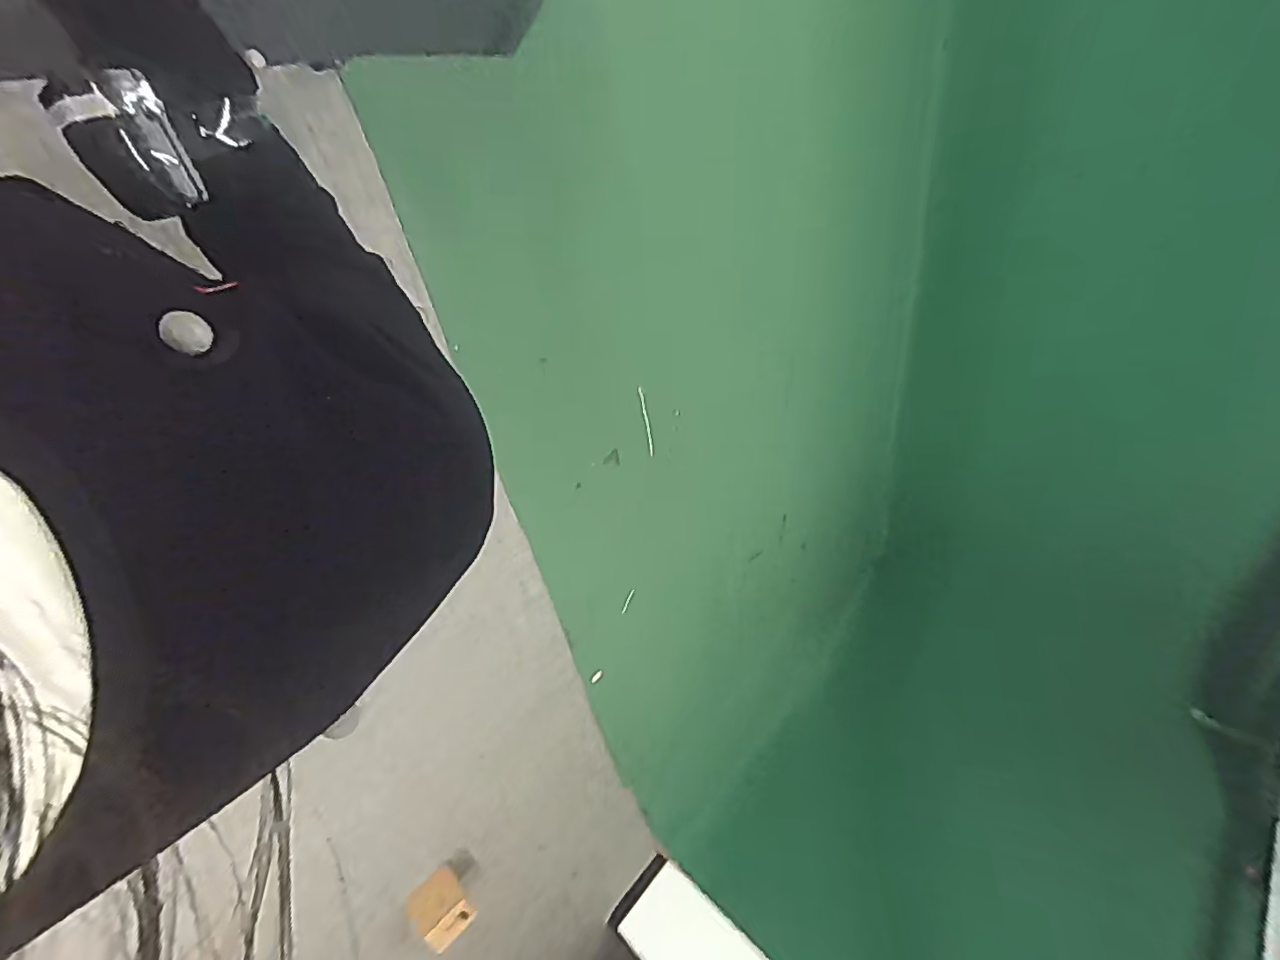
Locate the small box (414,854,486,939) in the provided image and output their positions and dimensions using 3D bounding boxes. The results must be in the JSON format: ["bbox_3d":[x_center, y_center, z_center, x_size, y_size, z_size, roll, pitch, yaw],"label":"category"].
[{"bbox_3d":[-0.735,1.601,2.088,0.179,0.176,0.168,-36,130,-31],"label":"small box"}]
